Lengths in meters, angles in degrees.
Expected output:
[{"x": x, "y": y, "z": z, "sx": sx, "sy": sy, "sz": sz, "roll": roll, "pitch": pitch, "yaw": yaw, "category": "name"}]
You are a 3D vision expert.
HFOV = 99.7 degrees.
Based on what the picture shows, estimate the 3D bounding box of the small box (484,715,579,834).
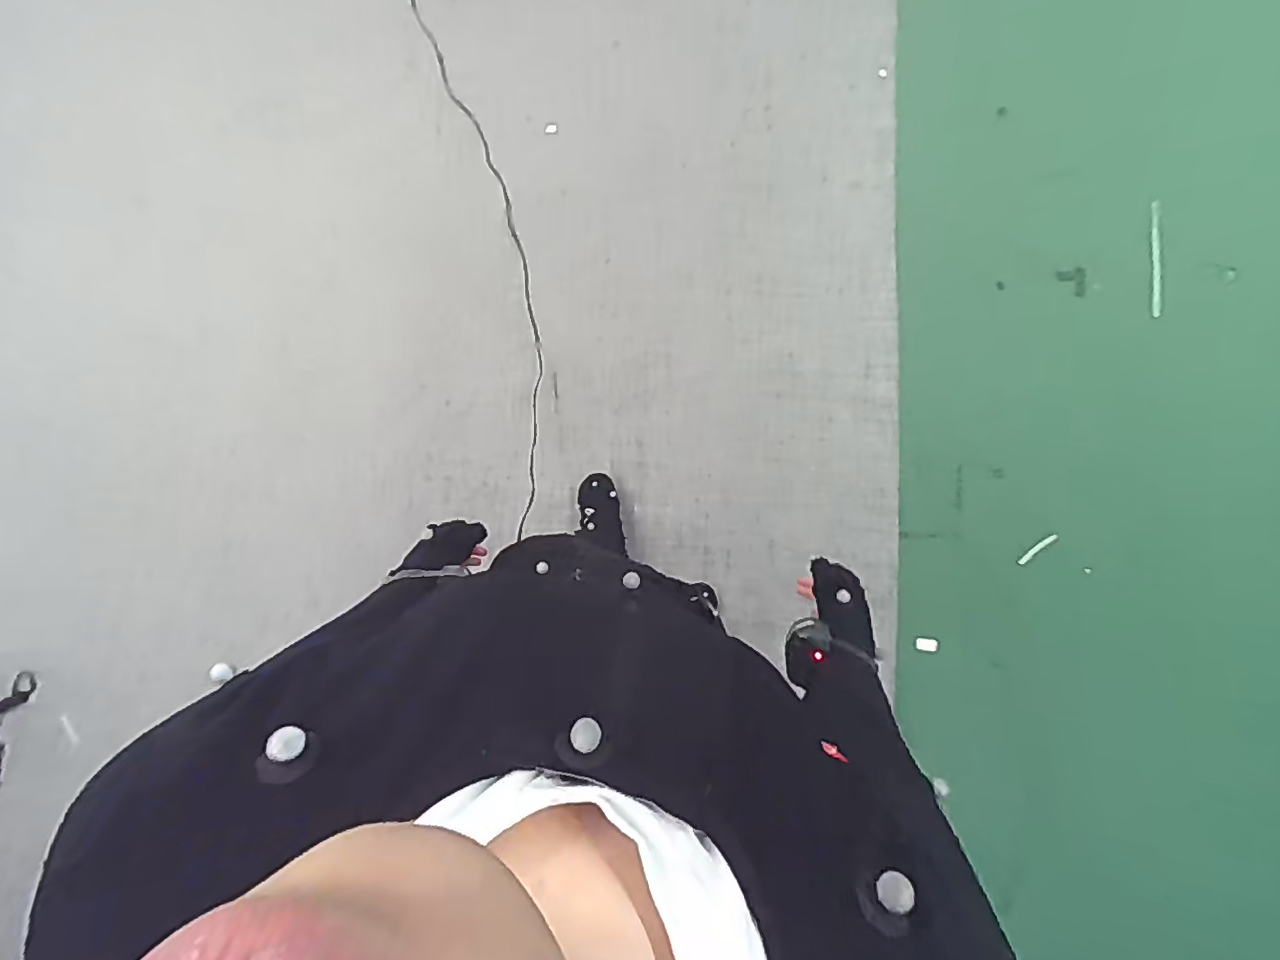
[{"x": -0.234, "y": 0.646, "z": 1.205, "sx": 0.168, "sy": 0.176, "sz": 0.179, "roll": 3, "pitch": 84, "yaw": 4, "category": "small box"}]

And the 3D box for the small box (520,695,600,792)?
[{"x": -0.204, "y": 0.654, "z": 1.365, "sx": 0.179, "sy": 0.176, "sz": 0.168, "roll": 4, "pitch": 85, "yaw": 4, "category": "small box"}]
